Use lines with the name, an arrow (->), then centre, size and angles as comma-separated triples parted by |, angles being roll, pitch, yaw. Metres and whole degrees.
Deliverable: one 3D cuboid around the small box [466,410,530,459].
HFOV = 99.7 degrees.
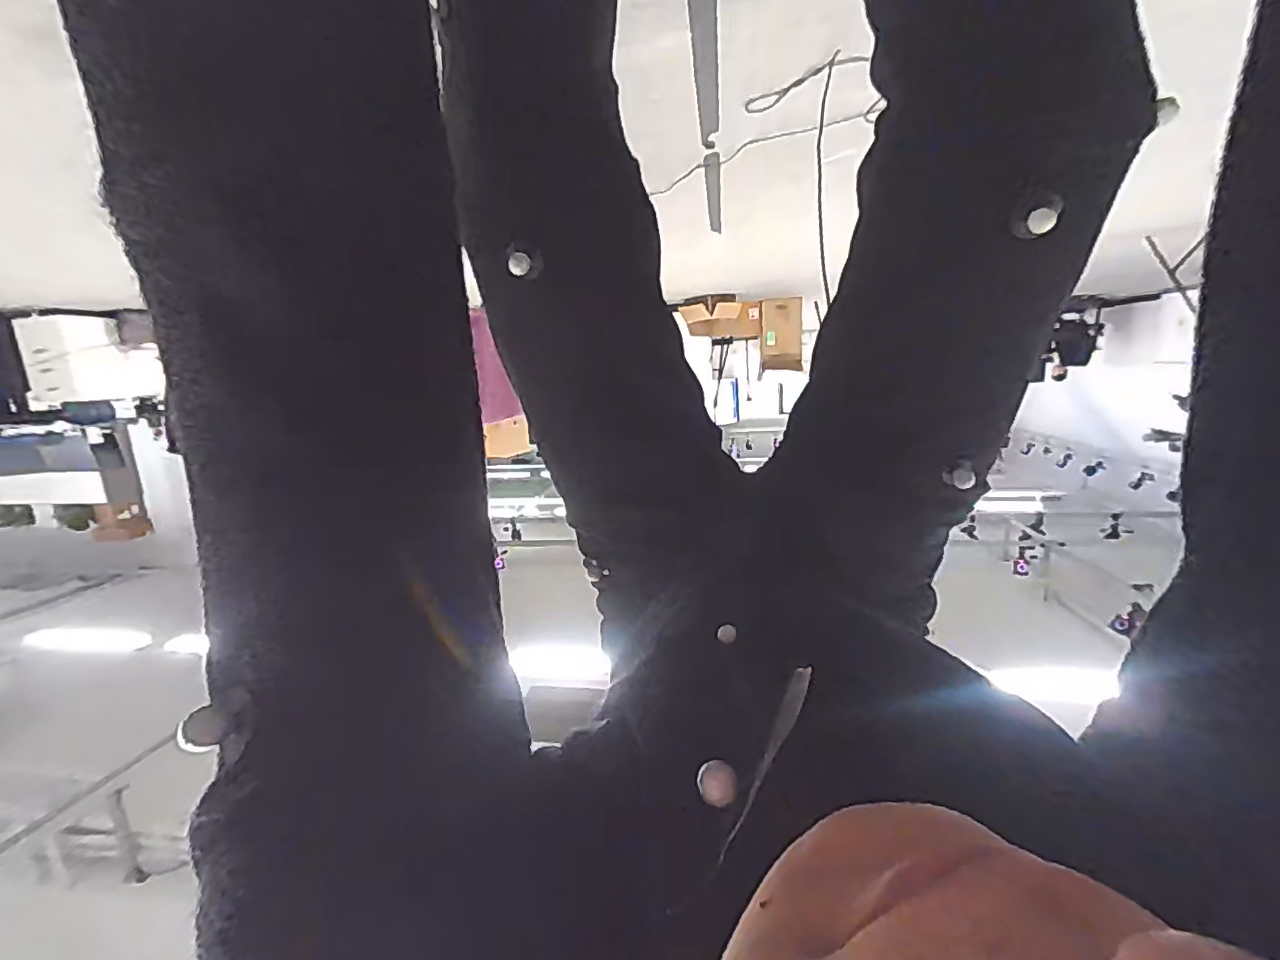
small box -> -0.540, -0.176, 2.045 | 0.179, 0.176, 0.168 | 1, -167, 24
